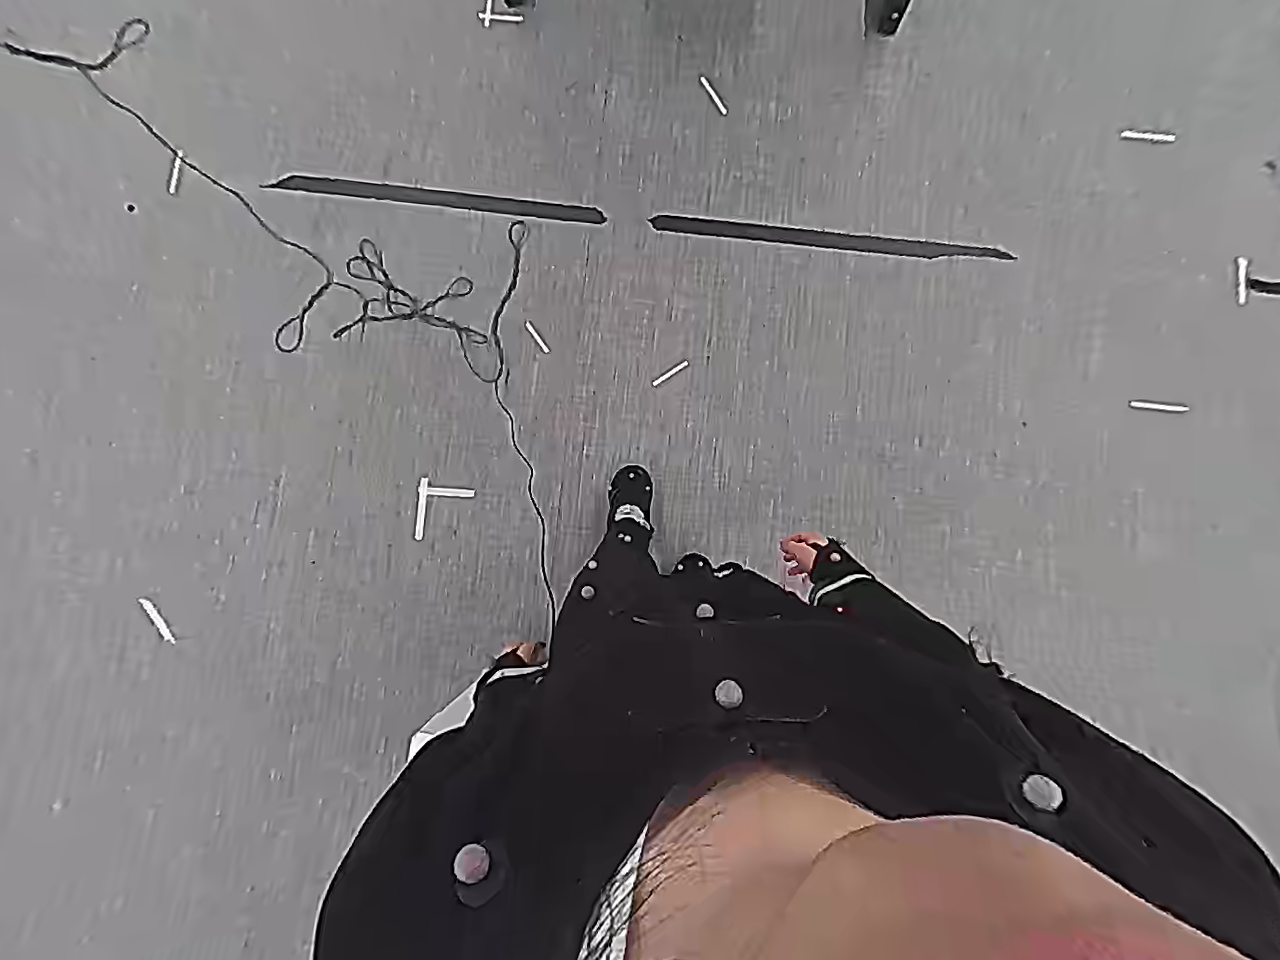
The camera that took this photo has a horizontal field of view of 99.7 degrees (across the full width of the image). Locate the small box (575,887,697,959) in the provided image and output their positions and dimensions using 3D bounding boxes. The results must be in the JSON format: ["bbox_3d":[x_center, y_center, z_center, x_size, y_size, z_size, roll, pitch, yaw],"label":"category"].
[{"bbox_3d":[-0.016,0.726,0.763,0.168,0.176,0.179,11,85,3],"label":"small box"}]
